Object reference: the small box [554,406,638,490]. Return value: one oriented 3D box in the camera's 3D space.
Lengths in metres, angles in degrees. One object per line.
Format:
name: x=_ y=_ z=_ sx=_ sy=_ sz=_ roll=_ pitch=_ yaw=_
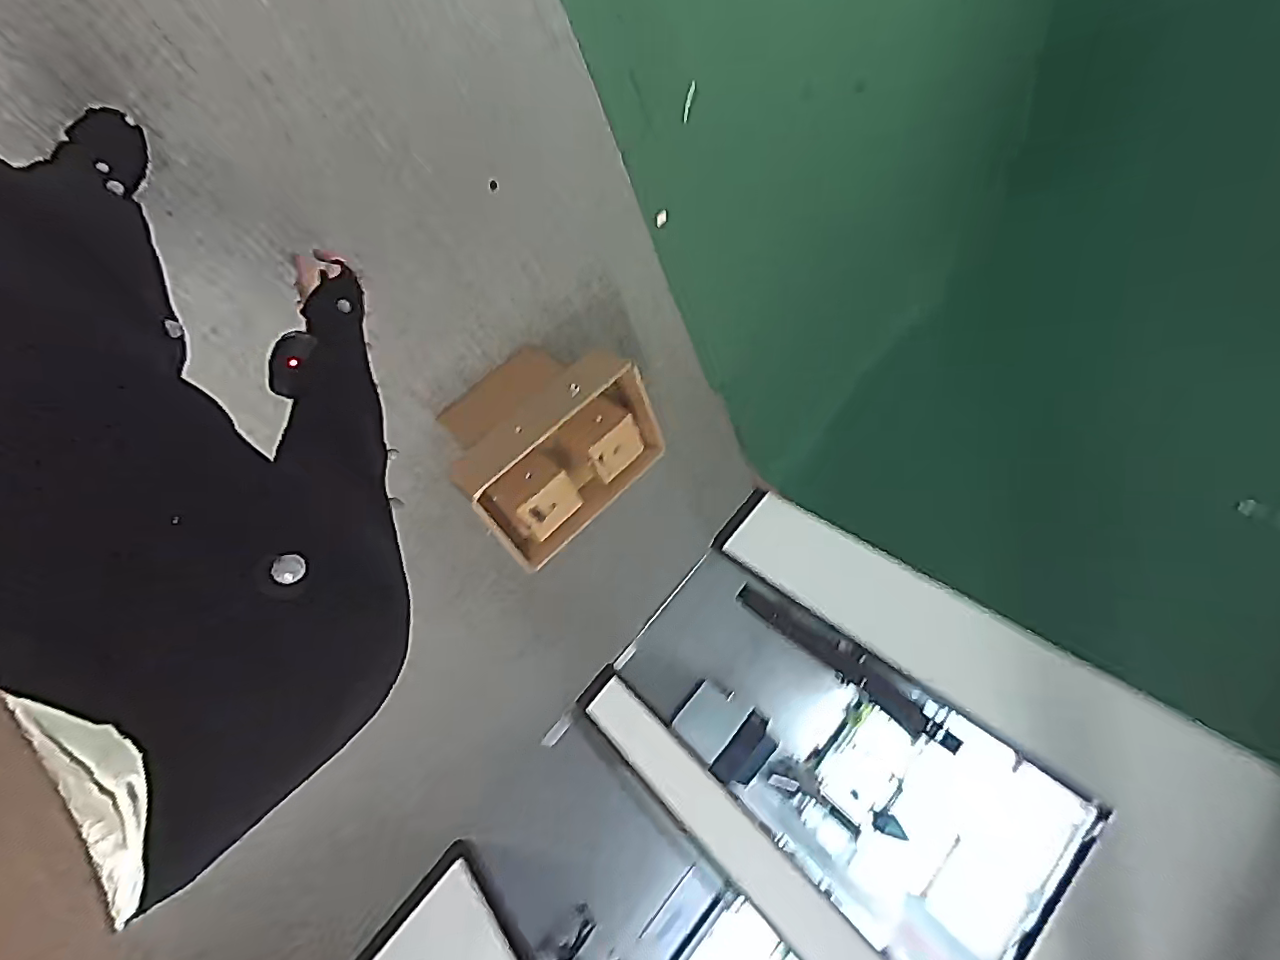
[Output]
small box: x=-0.139 y=-0.107 z=1.708 sx=0.179 sy=0.176 sz=0.168 roll=-44 pitch=140 yaw=-18
